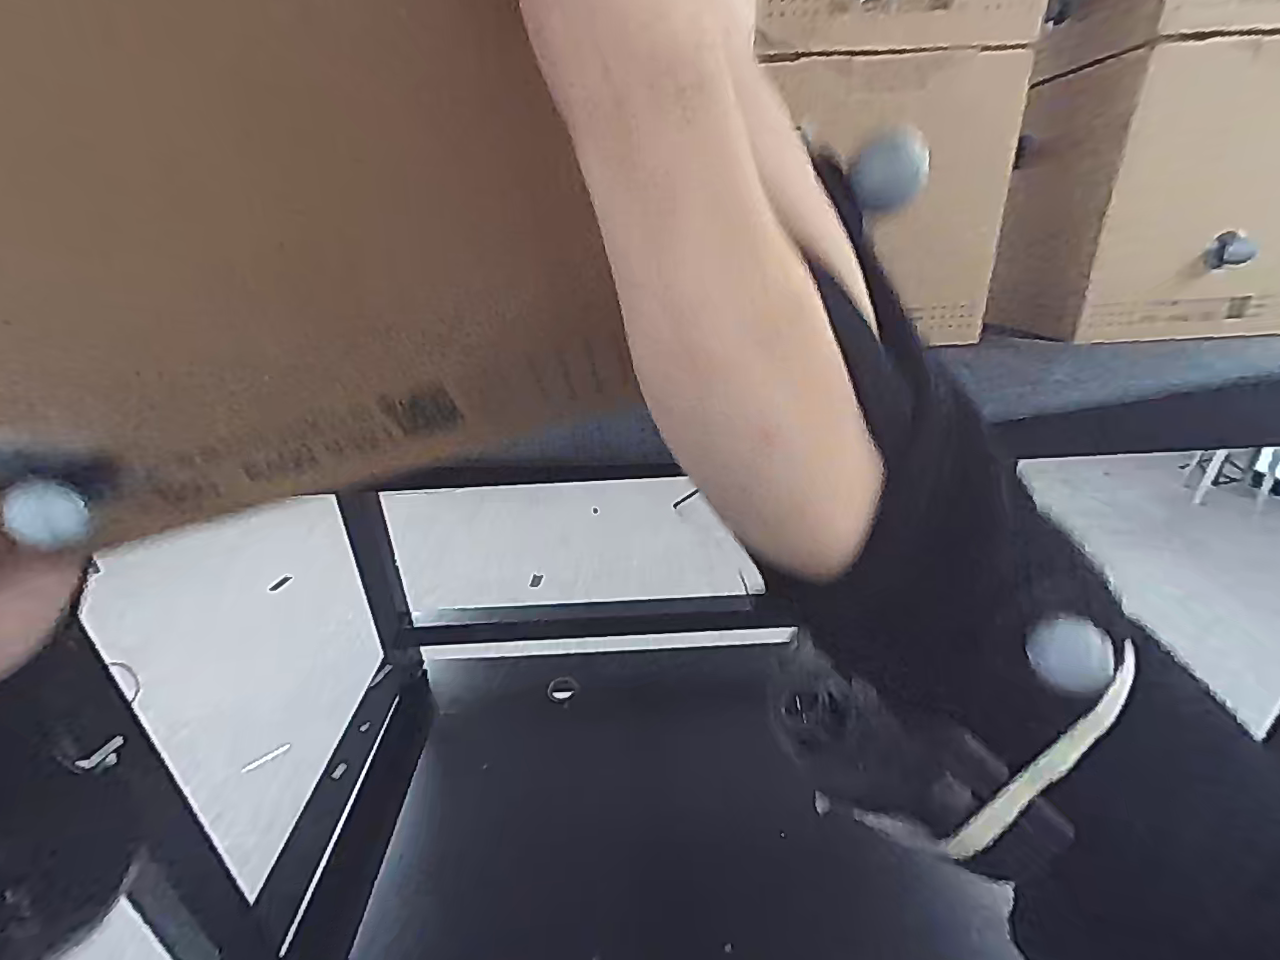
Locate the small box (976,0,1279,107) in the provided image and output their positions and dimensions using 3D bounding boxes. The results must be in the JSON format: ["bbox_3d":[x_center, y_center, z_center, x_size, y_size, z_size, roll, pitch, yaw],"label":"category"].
[{"bbox_3d":[0.357,-0.354,0.346,0.168,0.176,0.179,-2,25,0],"label":"small box"}]

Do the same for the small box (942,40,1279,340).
[{"bbox_3d":[0.362,-0.203,0.412,0.168,0.176,0.179,-3,24,0],"label":"small box"}]
